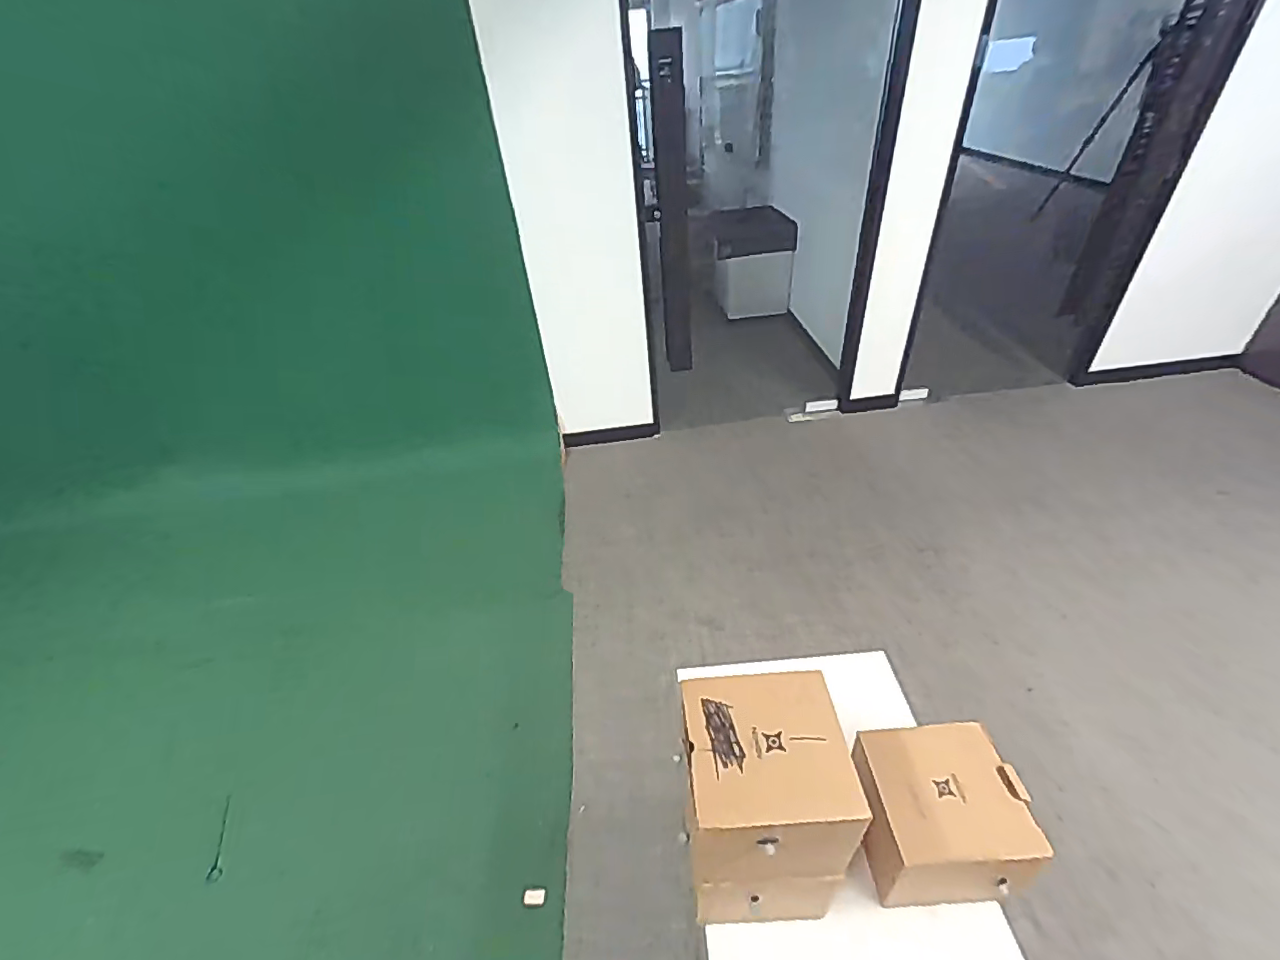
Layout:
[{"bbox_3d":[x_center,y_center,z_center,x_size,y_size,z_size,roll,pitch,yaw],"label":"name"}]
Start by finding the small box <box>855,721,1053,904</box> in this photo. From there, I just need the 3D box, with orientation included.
[{"bbox_3d":[0.401,0.455,0.741,0.179,0.176,0.168,-6,38,3],"label":"small box"}]

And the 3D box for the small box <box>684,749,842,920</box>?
[{"bbox_3d":[0.156,0.479,0.741,0.179,0.176,0.168,-4,39,1],"label":"small box"}]

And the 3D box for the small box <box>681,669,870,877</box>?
[{"bbox_3d":[0.144,0.348,0.641,0.179,0.176,0.168,-3,39,0],"label":"small box"}]
